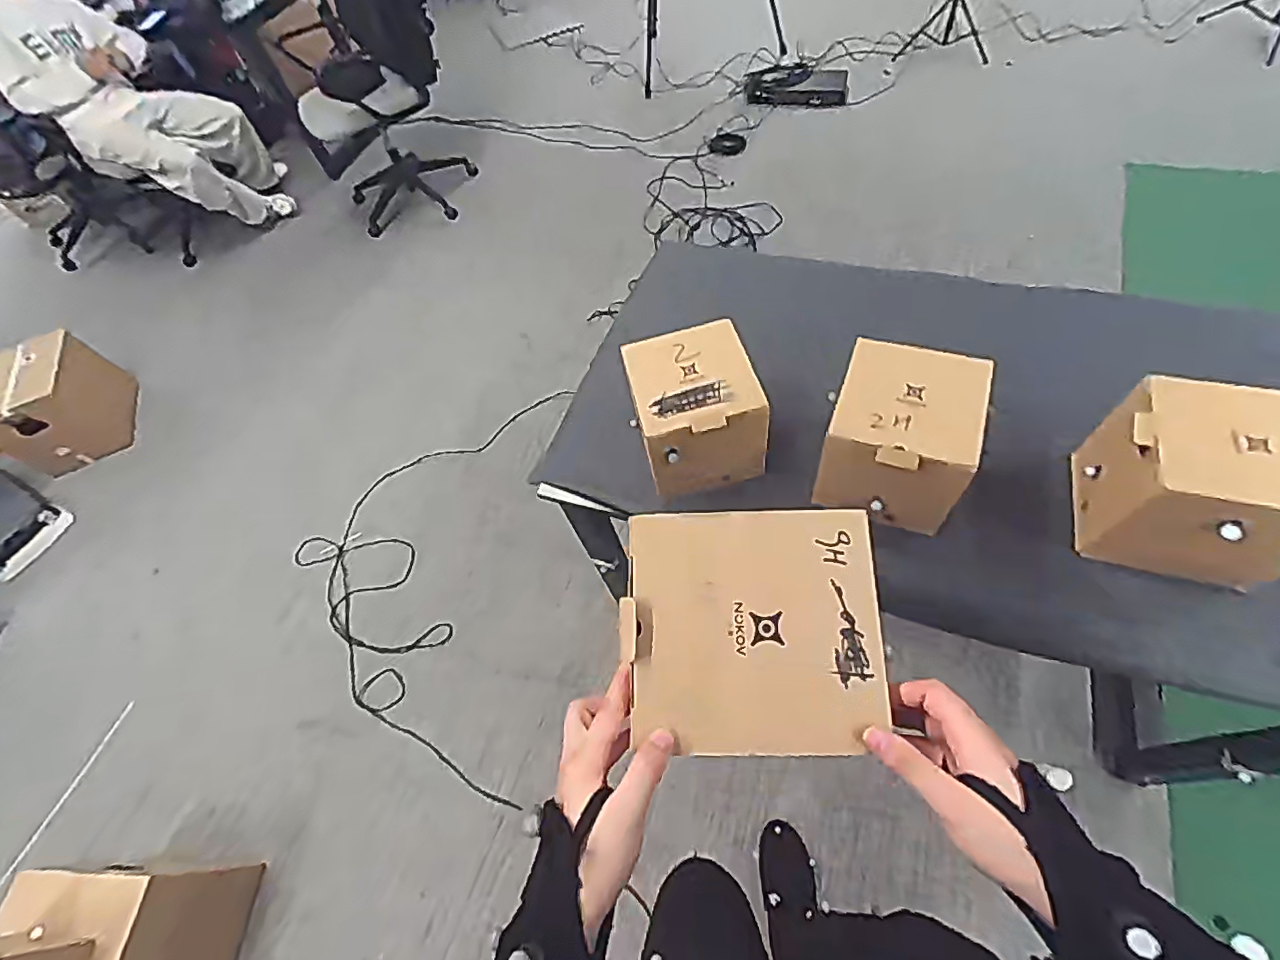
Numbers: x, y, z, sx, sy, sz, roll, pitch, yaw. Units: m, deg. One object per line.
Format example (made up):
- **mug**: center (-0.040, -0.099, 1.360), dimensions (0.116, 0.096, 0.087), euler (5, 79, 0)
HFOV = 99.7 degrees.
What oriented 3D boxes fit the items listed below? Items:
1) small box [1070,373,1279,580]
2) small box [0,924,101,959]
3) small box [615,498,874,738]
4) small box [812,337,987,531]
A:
- **small box**: center (0.651, 0.002, 0.636), dimensions (0.179, 0.176, 0.168), euler (12, 60, 18)
- **small box**: center (-1.097, 0.888, 0.919), dimensions (0.168, 0.176, 0.179), euler (-2, 58, 7)
- **small box**: center (0.076, 0.116, 0.461), dimensions (0.179, 0.176, 0.168), euler (-2, 74, 4)
- **small box**: center (0.341, -0.060, 0.732), dimensions (0.168, 0.176, 0.179), euler (16, 62, 20)
